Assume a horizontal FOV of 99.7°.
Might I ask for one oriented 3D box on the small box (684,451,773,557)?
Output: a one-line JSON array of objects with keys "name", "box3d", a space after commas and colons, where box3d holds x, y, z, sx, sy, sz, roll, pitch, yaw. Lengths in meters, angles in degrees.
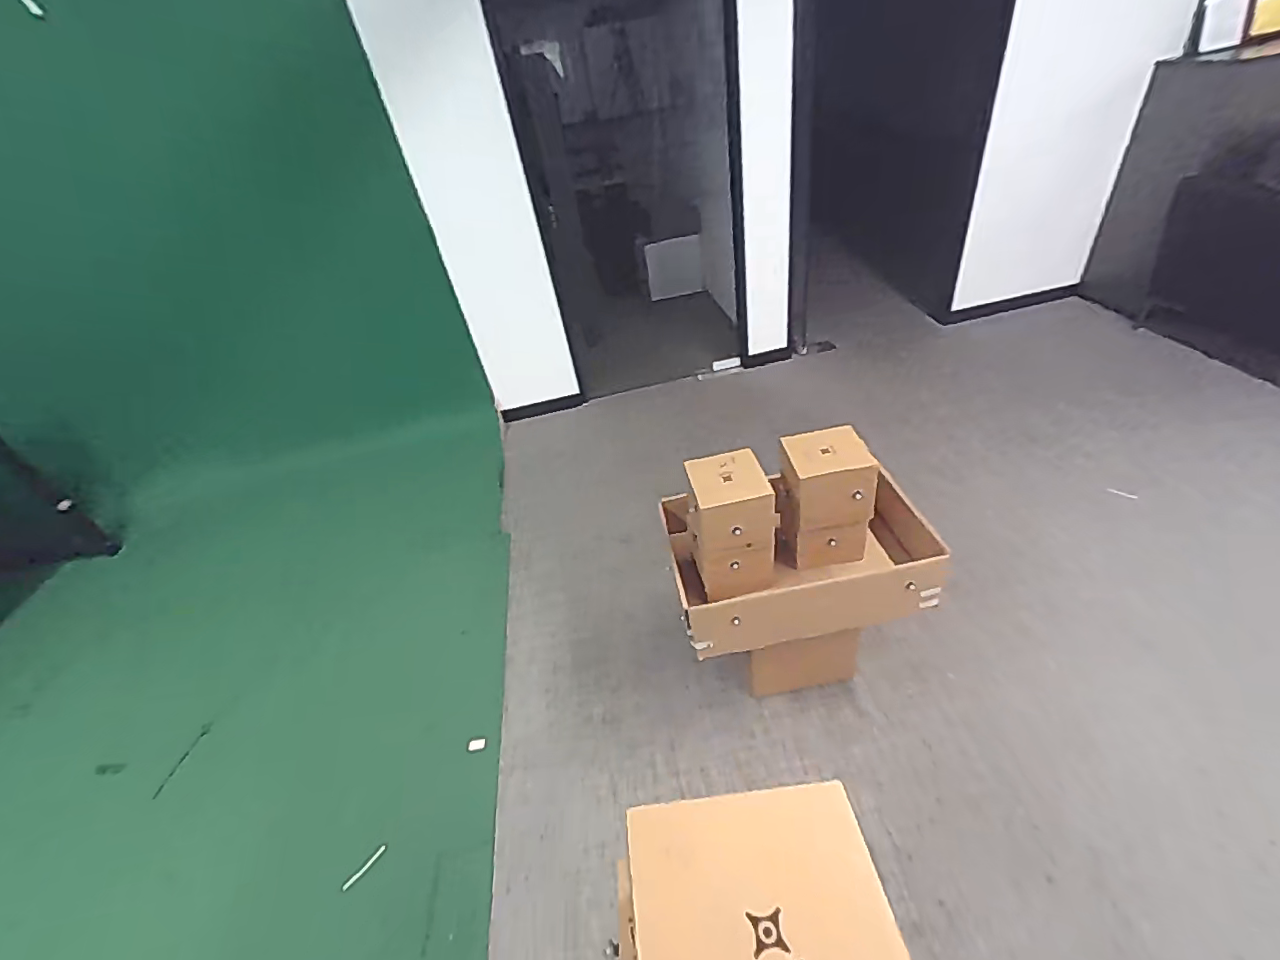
[{"name": "small box", "box3d": [0.208, 0.062, 1.268, 0.168, 0.176, 0.179, -12, 38, -1]}]
